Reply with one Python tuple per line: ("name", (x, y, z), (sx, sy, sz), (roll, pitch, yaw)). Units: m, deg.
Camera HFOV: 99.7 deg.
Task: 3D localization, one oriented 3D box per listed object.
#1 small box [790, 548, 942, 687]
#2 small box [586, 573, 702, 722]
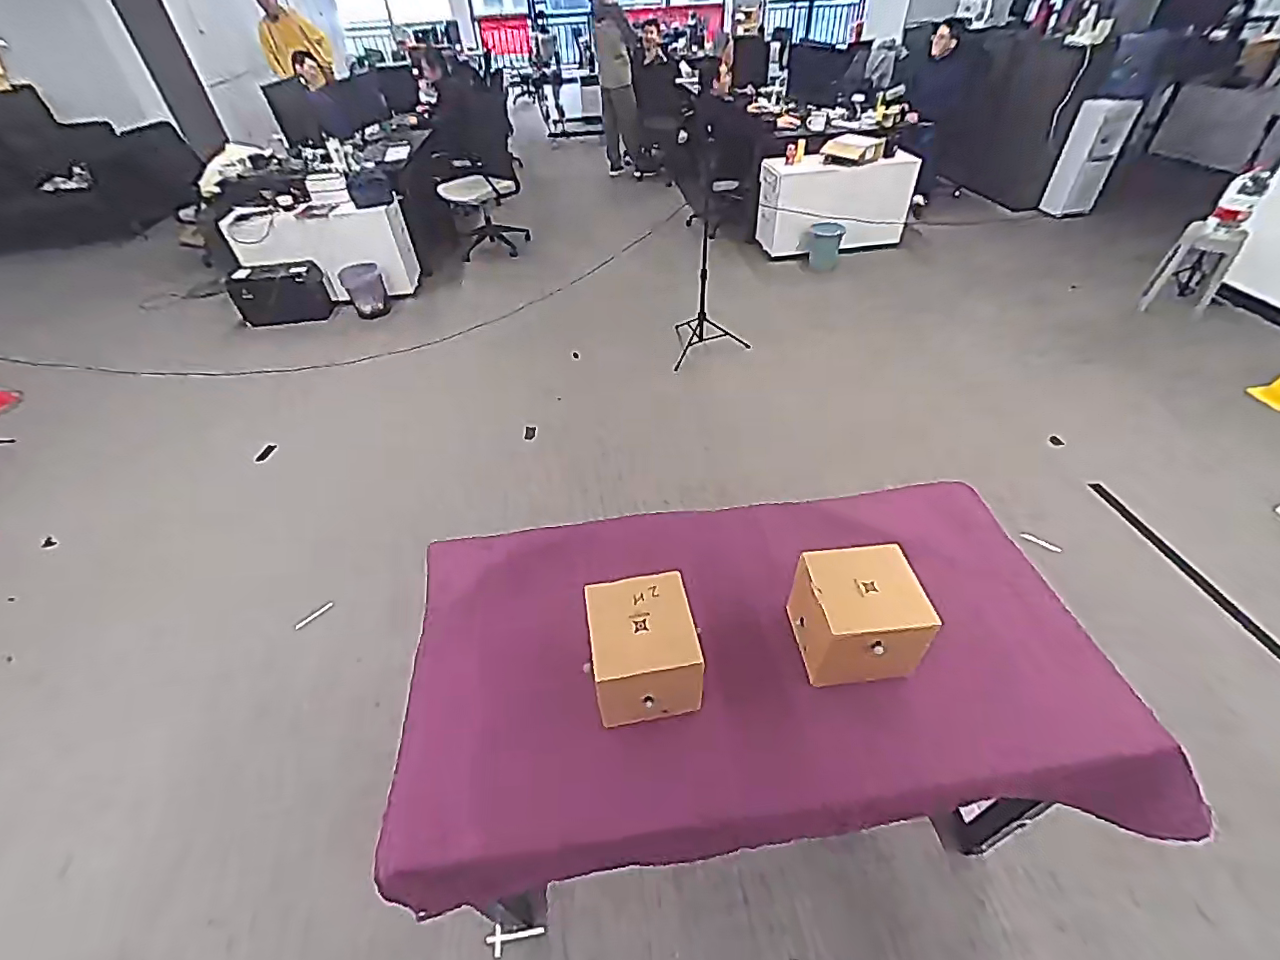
("small box", (0.376, 0.239, 0.936), (0.179, 0.176, 0.168), (-6, 44, -1))
("small box", (0.006, 0.286, 0.907), (0.168, 0.176, 0.179), (-8, 43, -5))
